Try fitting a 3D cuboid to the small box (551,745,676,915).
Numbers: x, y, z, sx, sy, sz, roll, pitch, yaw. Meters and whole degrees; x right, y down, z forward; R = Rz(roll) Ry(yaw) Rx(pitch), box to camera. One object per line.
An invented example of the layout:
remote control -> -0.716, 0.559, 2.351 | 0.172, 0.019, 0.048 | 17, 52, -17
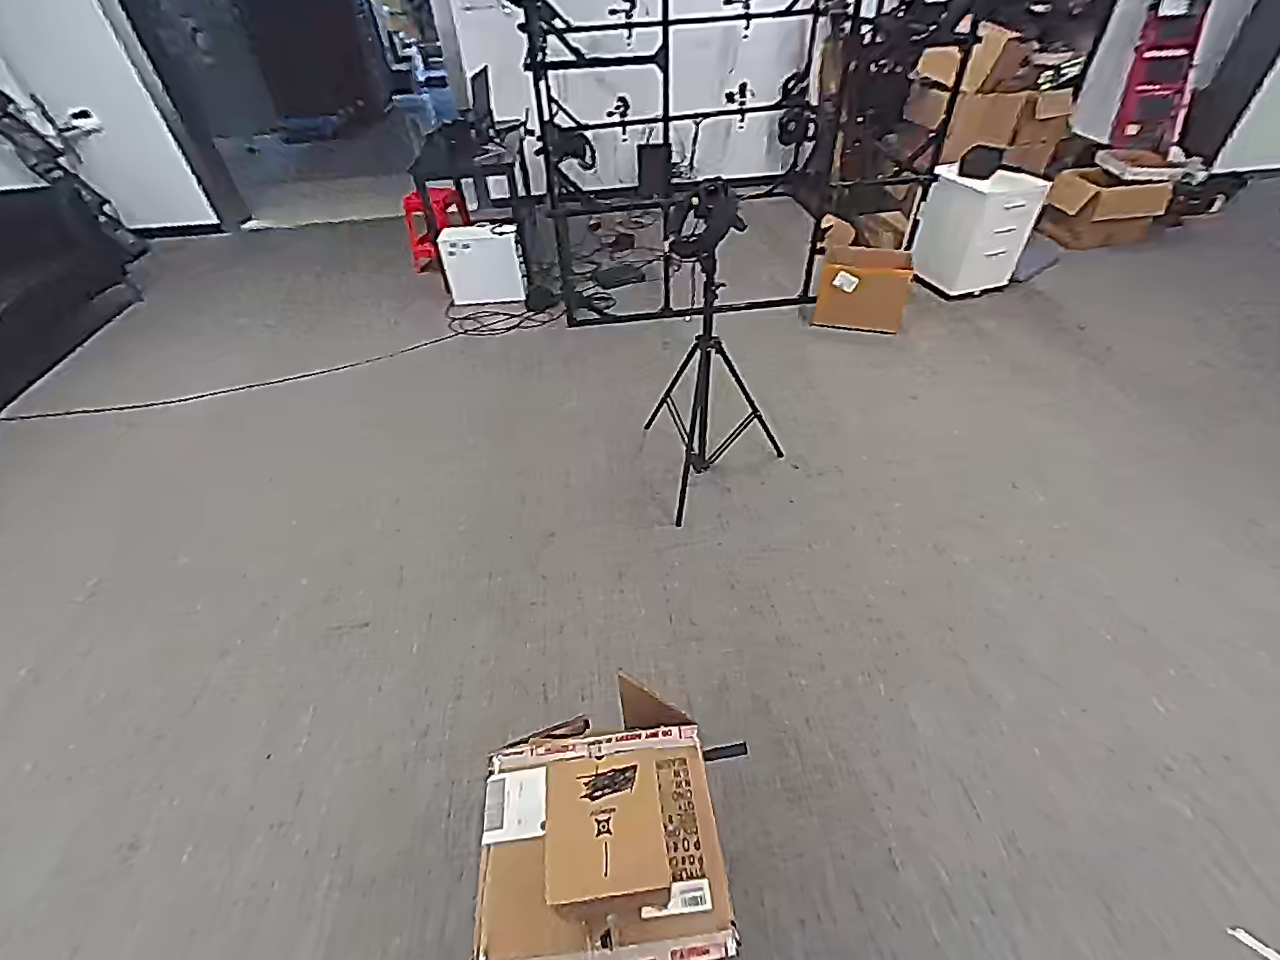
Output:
small box -> -0.041, 0.529, 0.818 | 0.168, 0.176, 0.179 | -7, 47, -3
